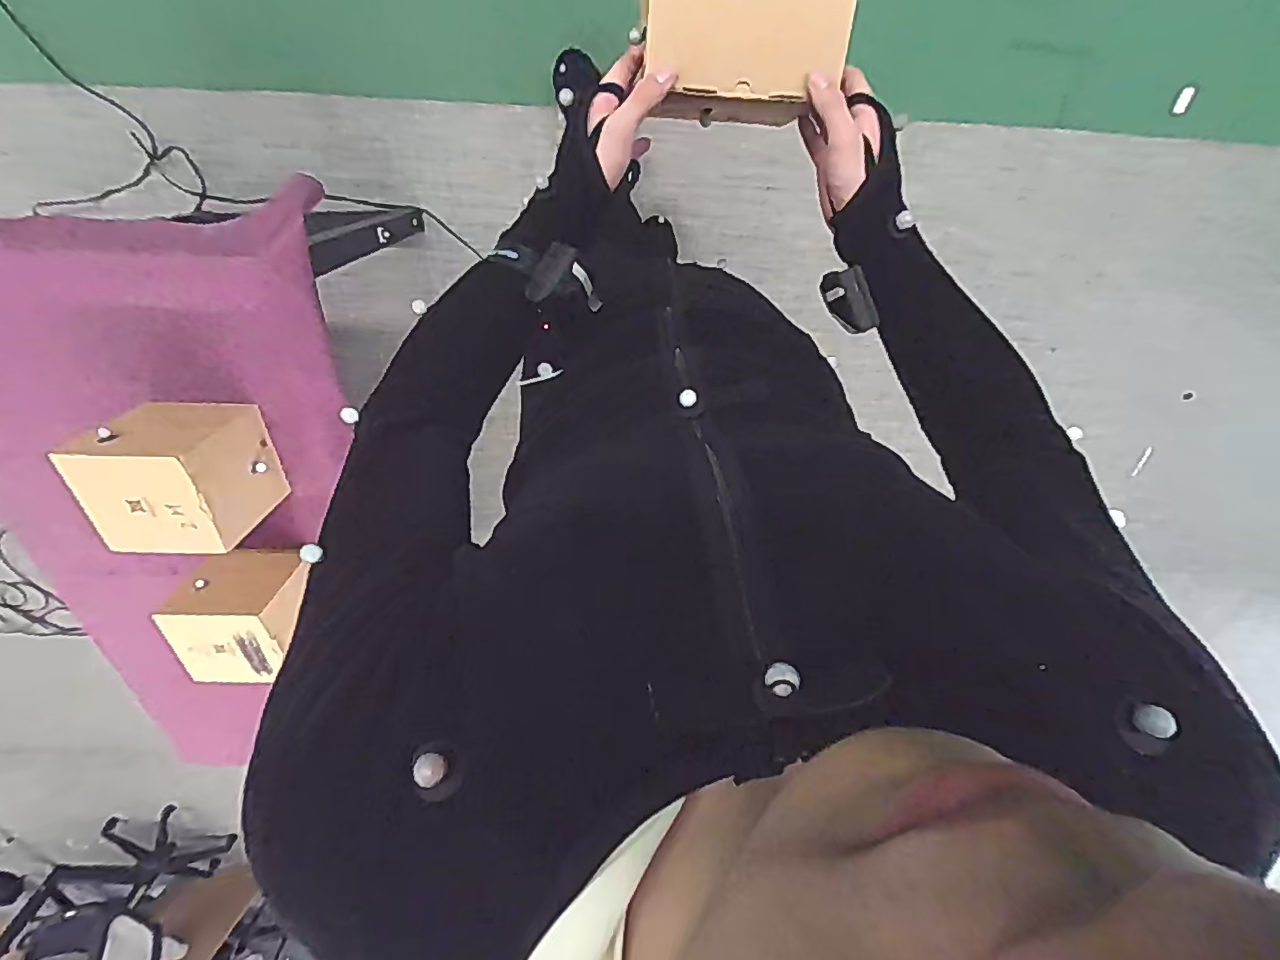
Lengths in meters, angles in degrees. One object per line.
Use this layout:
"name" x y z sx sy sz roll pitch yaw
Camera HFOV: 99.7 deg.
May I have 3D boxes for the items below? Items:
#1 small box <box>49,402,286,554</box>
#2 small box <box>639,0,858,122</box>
"small box" -0.682 -0.008 0.809 0.179 0.176 0.168 1 122 -1
"small box" 0.088 -0.436 0.482 0.168 0.176 0.179 1 120 -4
